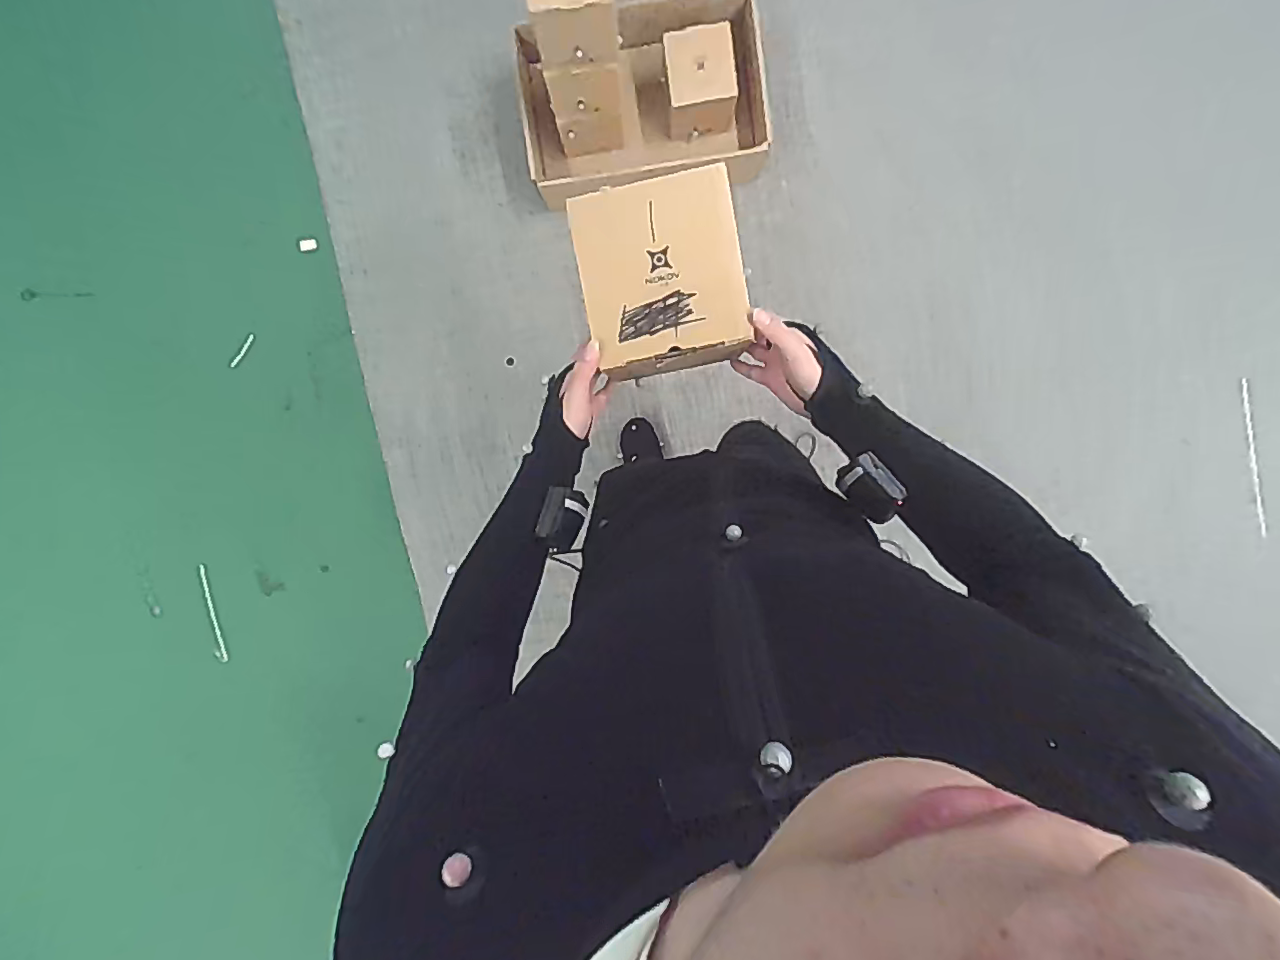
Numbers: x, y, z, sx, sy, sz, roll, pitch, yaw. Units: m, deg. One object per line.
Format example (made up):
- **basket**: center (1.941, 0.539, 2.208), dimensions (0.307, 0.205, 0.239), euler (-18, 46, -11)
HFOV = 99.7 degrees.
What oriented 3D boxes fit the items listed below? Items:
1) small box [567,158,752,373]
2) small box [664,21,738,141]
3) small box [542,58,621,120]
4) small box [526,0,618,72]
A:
- **small box**: center (0.028, -0.224, 0.621), dimensions (0.168, 0.176, 0.179), euler (-10, 94, 6)
- **small box**: center (0.151, -1.018, 1.392), dimensions (0.168, 0.176, 0.179), euler (-8, 95, 4)
- **small box**: center (-0.137, -0.972, 1.242), dimensions (0.168, 0.176, 0.179), euler (-7, 94, 1)
- **small box**: center (-0.138, -0.967, 1.077), dimensions (0.168, 0.176, 0.179), euler (-7, 94, 2)
